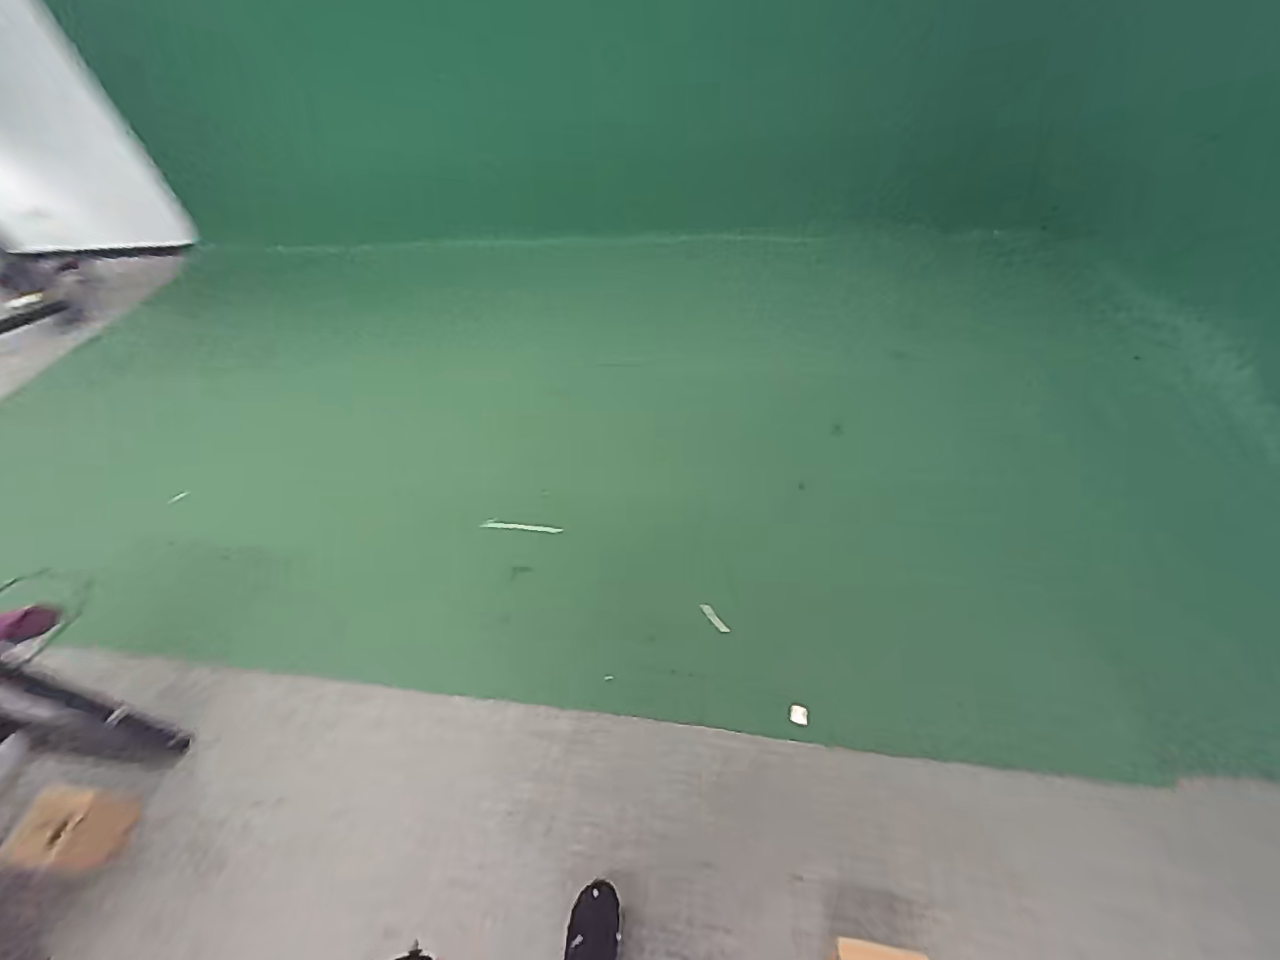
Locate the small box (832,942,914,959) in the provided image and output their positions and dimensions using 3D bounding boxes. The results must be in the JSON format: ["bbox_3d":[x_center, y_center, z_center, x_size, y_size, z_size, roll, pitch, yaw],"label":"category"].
[{"bbox_3d":[0.476,1.037,1.059,0.179,0.176,0.168,4,48,12],"label":"small box"}]

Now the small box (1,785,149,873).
[{"bbox_3d":[-1.486,0.929,1.438,0.179,0.176,0.168,0,47,9],"label":"small box"}]
